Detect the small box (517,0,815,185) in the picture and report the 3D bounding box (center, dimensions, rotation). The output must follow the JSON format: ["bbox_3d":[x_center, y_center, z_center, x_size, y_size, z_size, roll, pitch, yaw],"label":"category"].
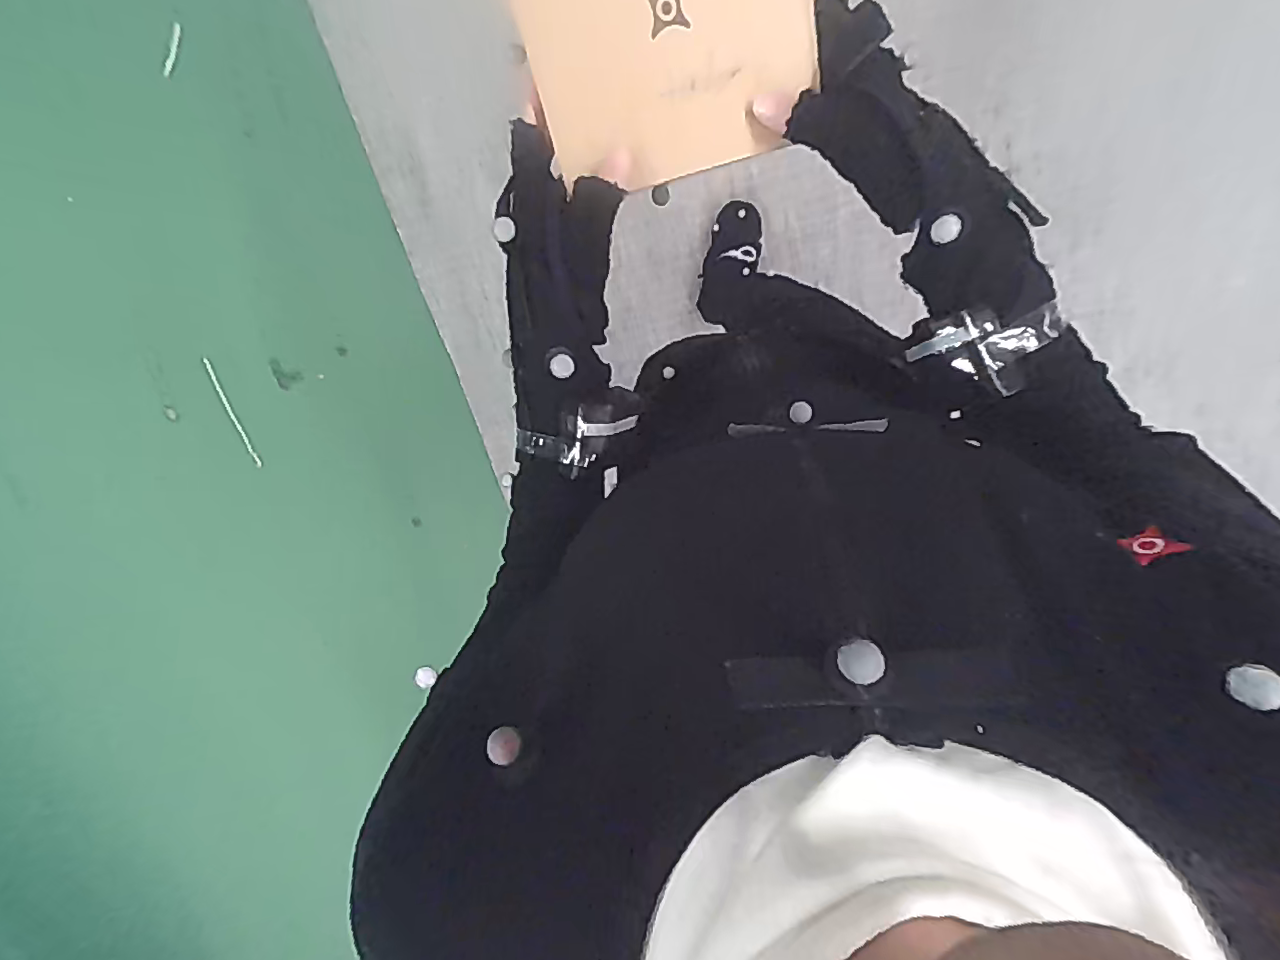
[{"bbox_3d":[0.005,-0.319,0.371,0.168,0.176,0.179,-14,118,4],"label":"small box"}]
